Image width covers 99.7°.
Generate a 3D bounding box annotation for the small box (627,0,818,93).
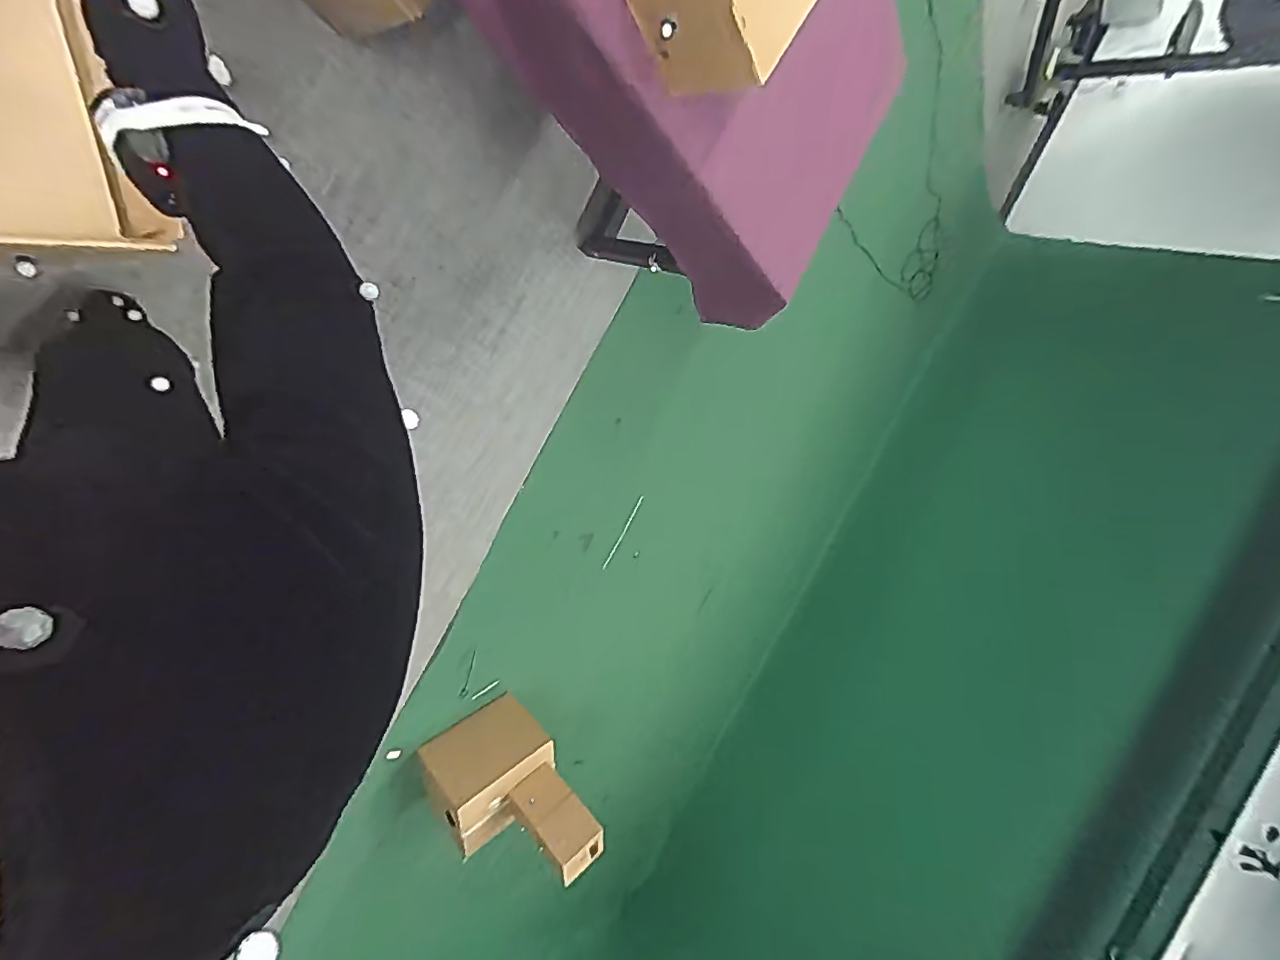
[{"bbox_3d":[0.111,-0.660,0.721,0.179,0.176,0.168,-58,142,-3],"label":"small box"}]
